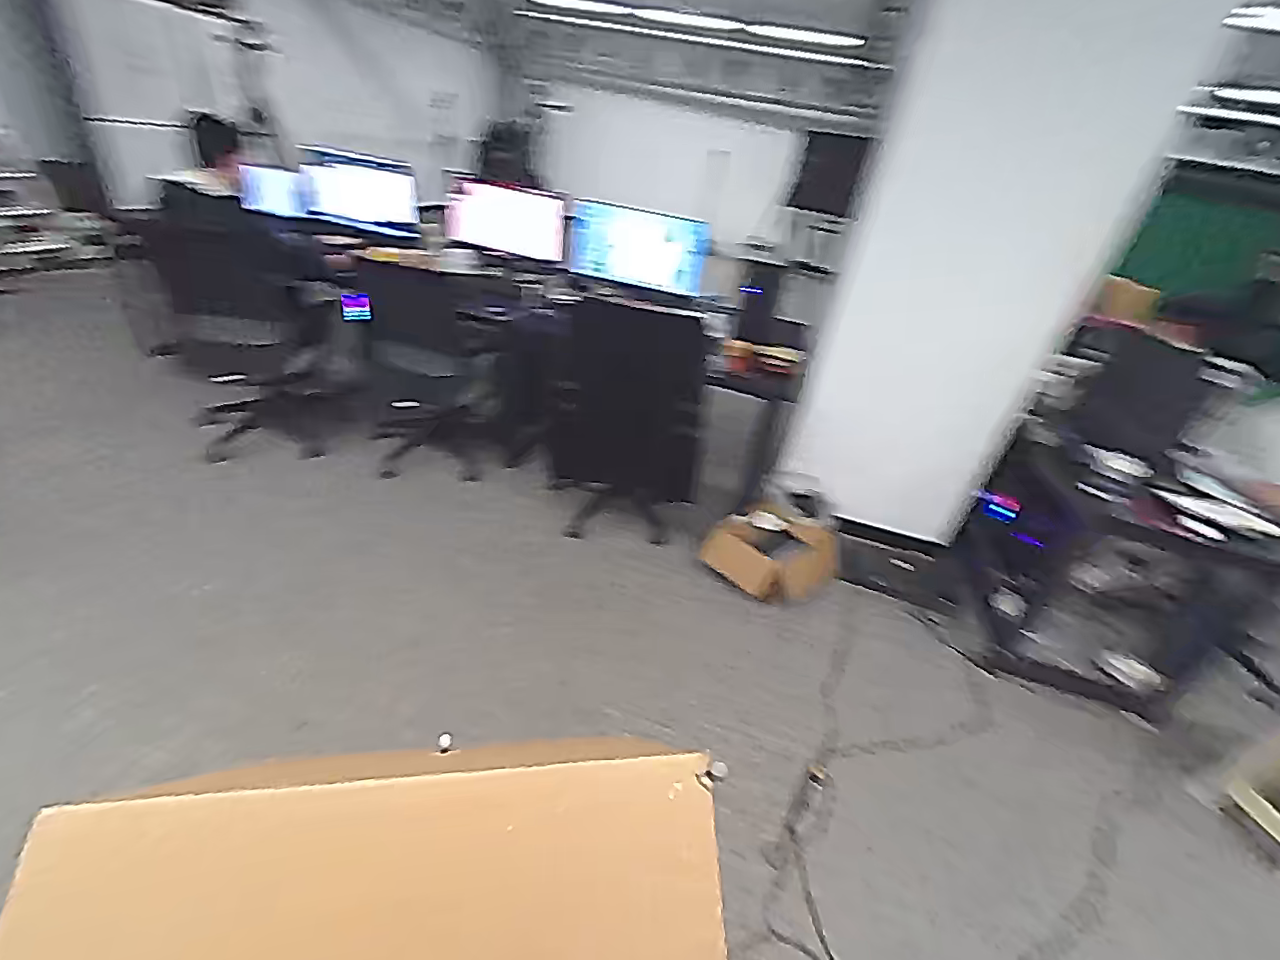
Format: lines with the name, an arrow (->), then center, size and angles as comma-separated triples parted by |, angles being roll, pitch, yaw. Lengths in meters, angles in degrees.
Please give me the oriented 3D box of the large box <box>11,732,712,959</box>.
large box -> -0.178, 0.400, 0.442 | 0.408, 0.320, 0.320 | 1, 69, -15
